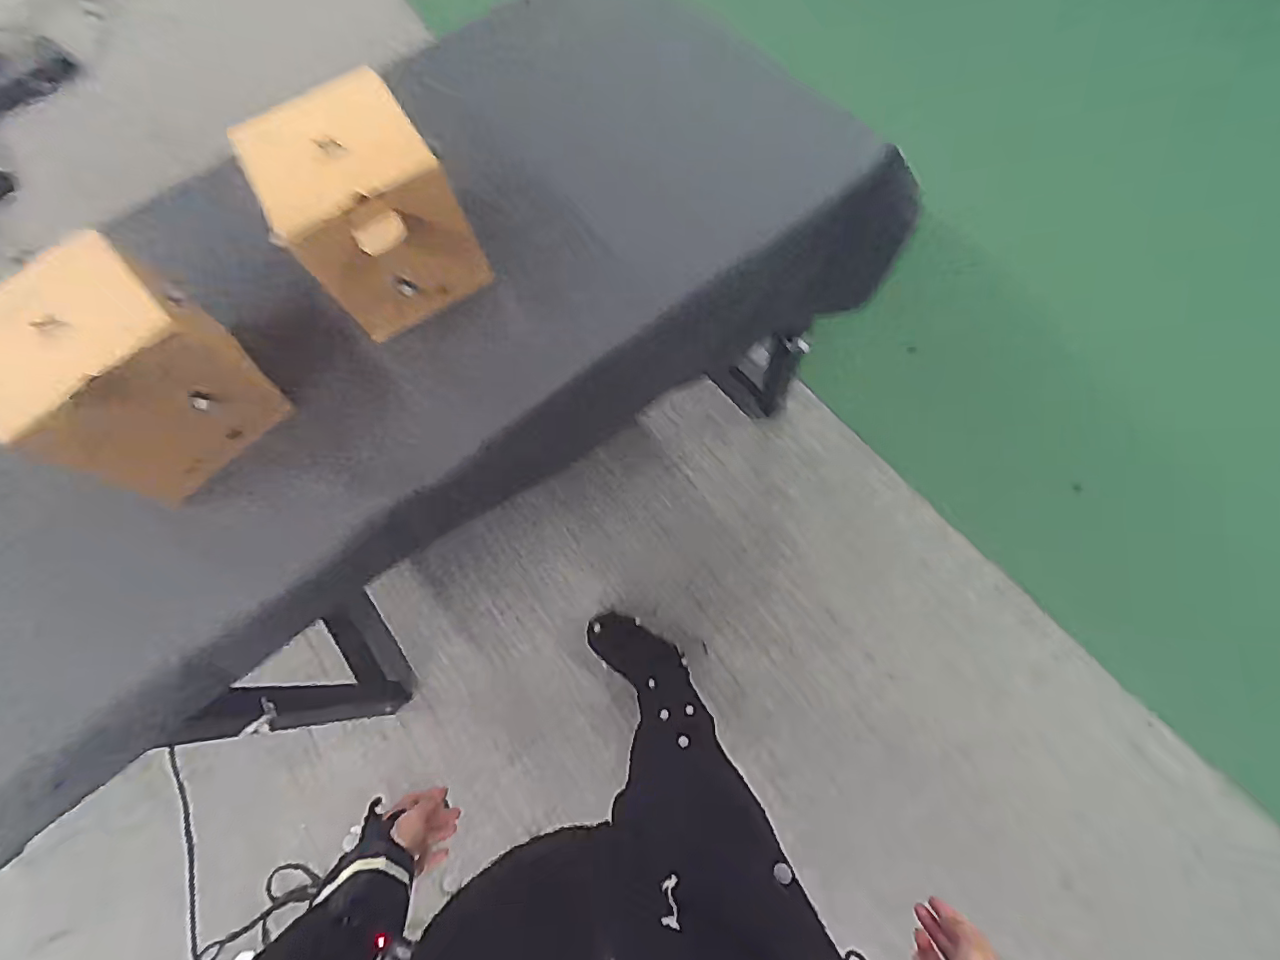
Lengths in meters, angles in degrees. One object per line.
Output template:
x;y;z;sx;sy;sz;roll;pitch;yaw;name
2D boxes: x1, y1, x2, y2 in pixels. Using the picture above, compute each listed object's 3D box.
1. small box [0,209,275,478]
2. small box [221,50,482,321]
-0.527;-0.122;0.549;0.179;0.176;0.168;41;77;18;small box
-0.306;-0.316;0.603;0.168;0.176;0.179;-32;71;-8;small box
